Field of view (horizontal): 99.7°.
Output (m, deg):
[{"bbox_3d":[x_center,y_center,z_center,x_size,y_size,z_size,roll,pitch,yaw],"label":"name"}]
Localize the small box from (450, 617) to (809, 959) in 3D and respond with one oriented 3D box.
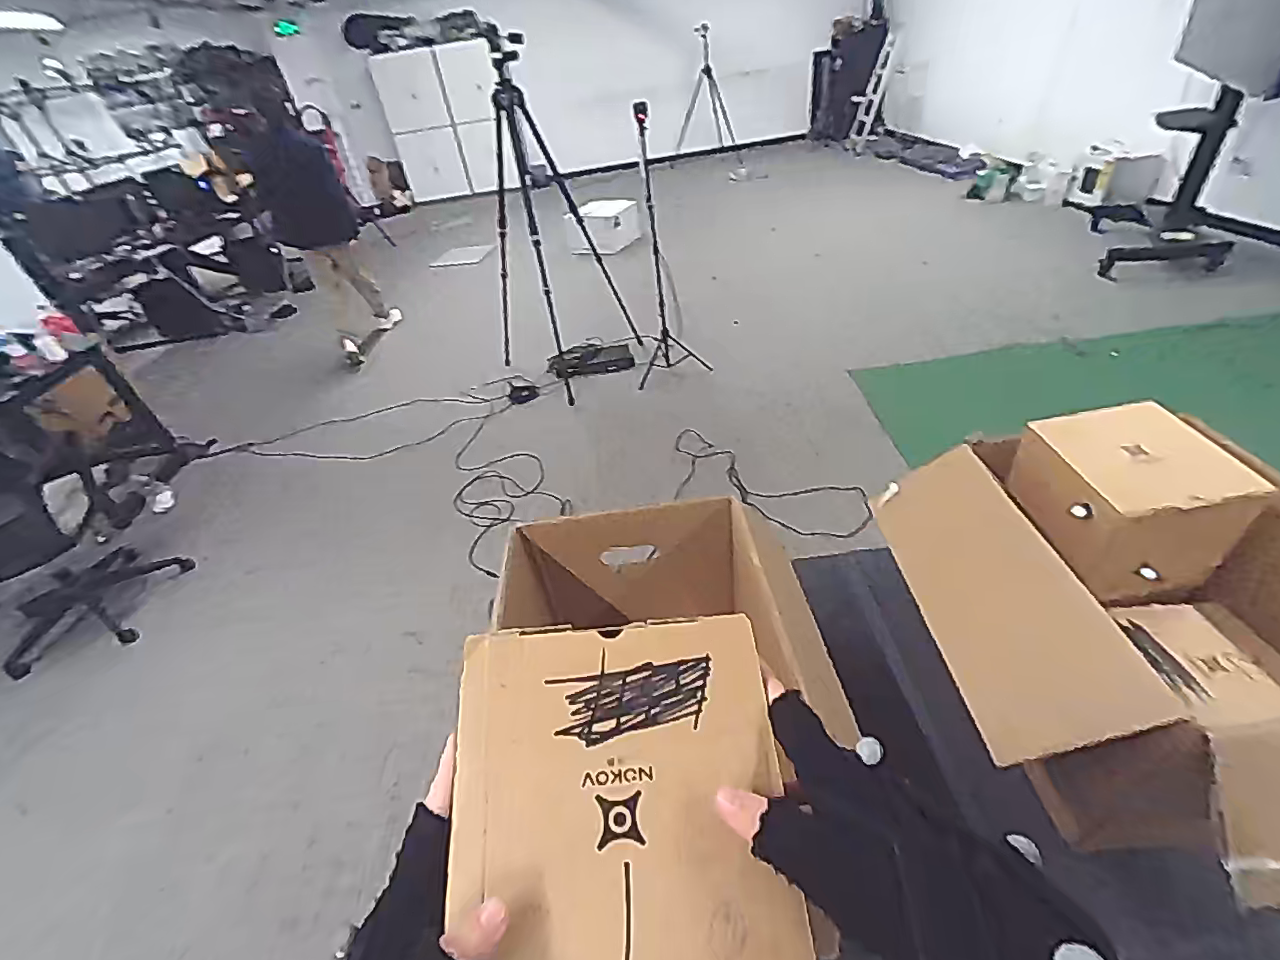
[{"bbox_3d":[-0.013,0.200,0.347,0.168,0.176,0.179,-2,60,-5],"label":"small box"}]
